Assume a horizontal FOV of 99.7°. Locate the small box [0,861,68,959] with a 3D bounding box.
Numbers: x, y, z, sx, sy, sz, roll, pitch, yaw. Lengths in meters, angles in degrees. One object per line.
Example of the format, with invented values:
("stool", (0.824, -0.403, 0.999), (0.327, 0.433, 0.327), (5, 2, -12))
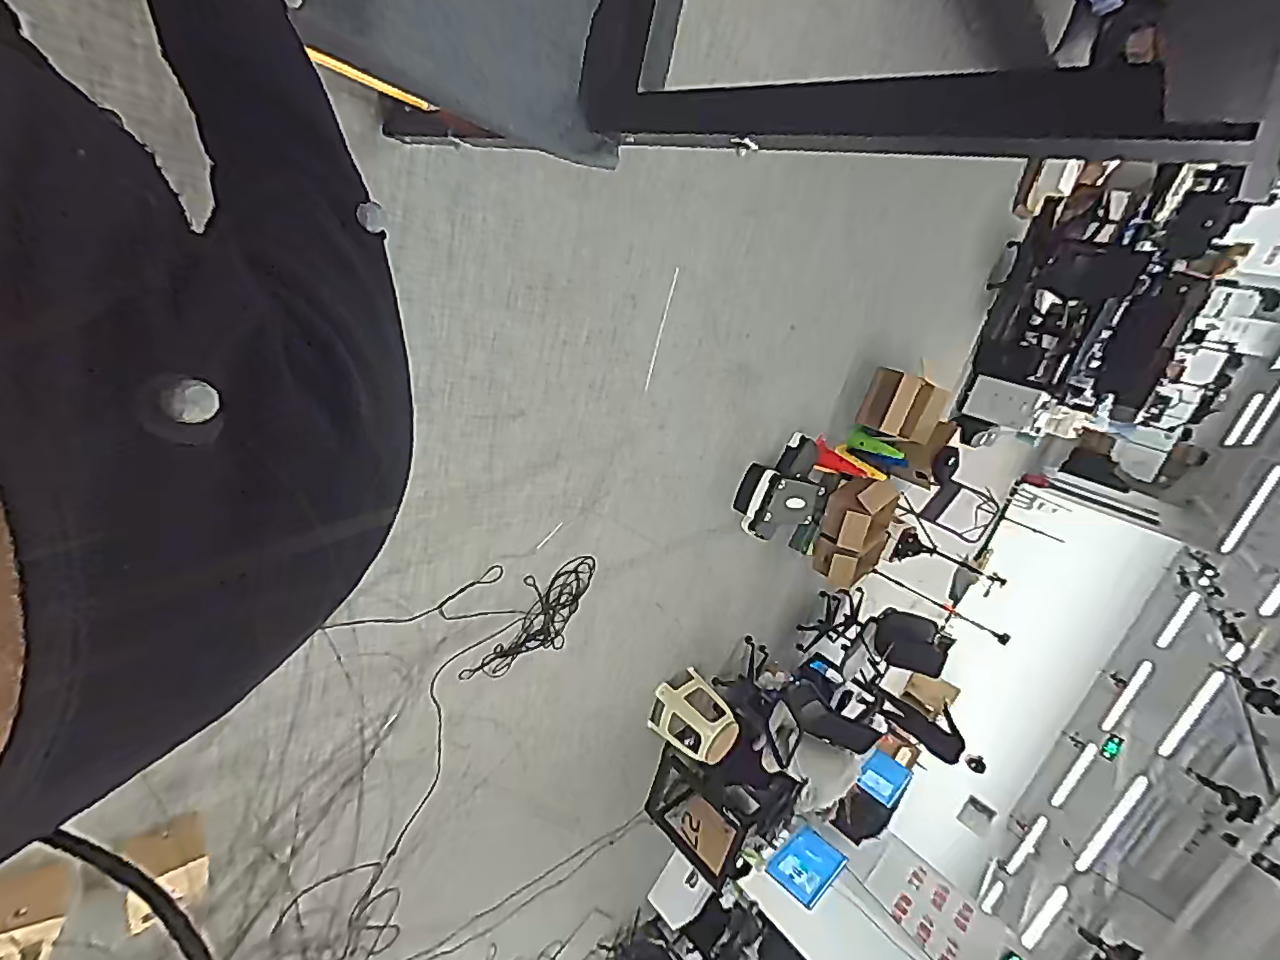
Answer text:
("small box", (-1.502, 1.053, 1.278), (0.179, 0.176, 0.168), (18, 99, -50))
